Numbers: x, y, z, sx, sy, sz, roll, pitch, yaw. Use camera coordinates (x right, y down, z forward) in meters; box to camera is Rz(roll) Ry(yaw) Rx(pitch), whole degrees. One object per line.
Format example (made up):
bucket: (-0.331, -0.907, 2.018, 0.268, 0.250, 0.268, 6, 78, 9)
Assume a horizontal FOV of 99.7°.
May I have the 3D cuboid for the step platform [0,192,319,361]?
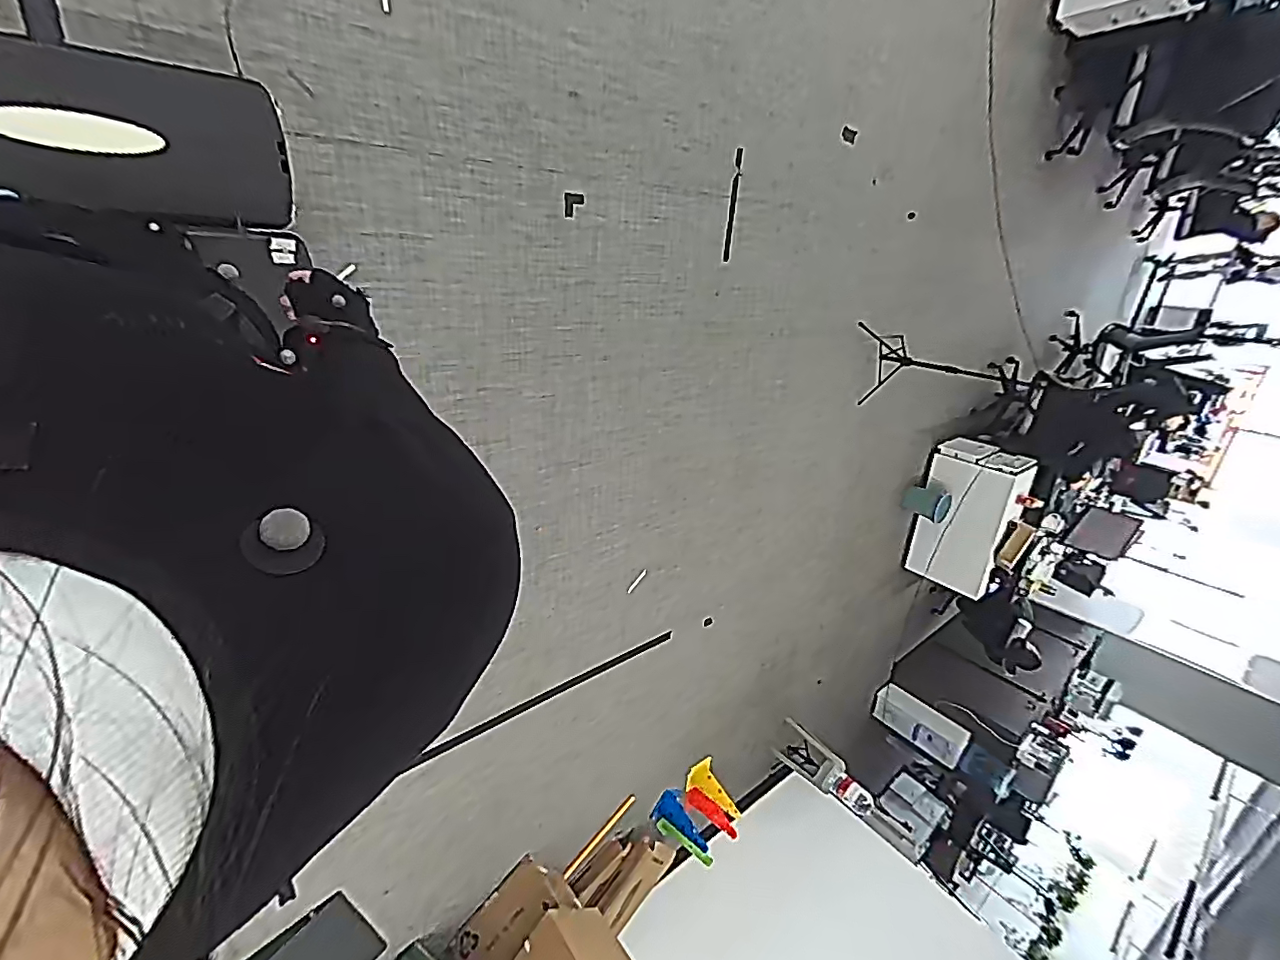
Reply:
step platform: (-1.039, -0.404, 1.080, 0.684, 0.204, 0.286, -15, 118, -35)
